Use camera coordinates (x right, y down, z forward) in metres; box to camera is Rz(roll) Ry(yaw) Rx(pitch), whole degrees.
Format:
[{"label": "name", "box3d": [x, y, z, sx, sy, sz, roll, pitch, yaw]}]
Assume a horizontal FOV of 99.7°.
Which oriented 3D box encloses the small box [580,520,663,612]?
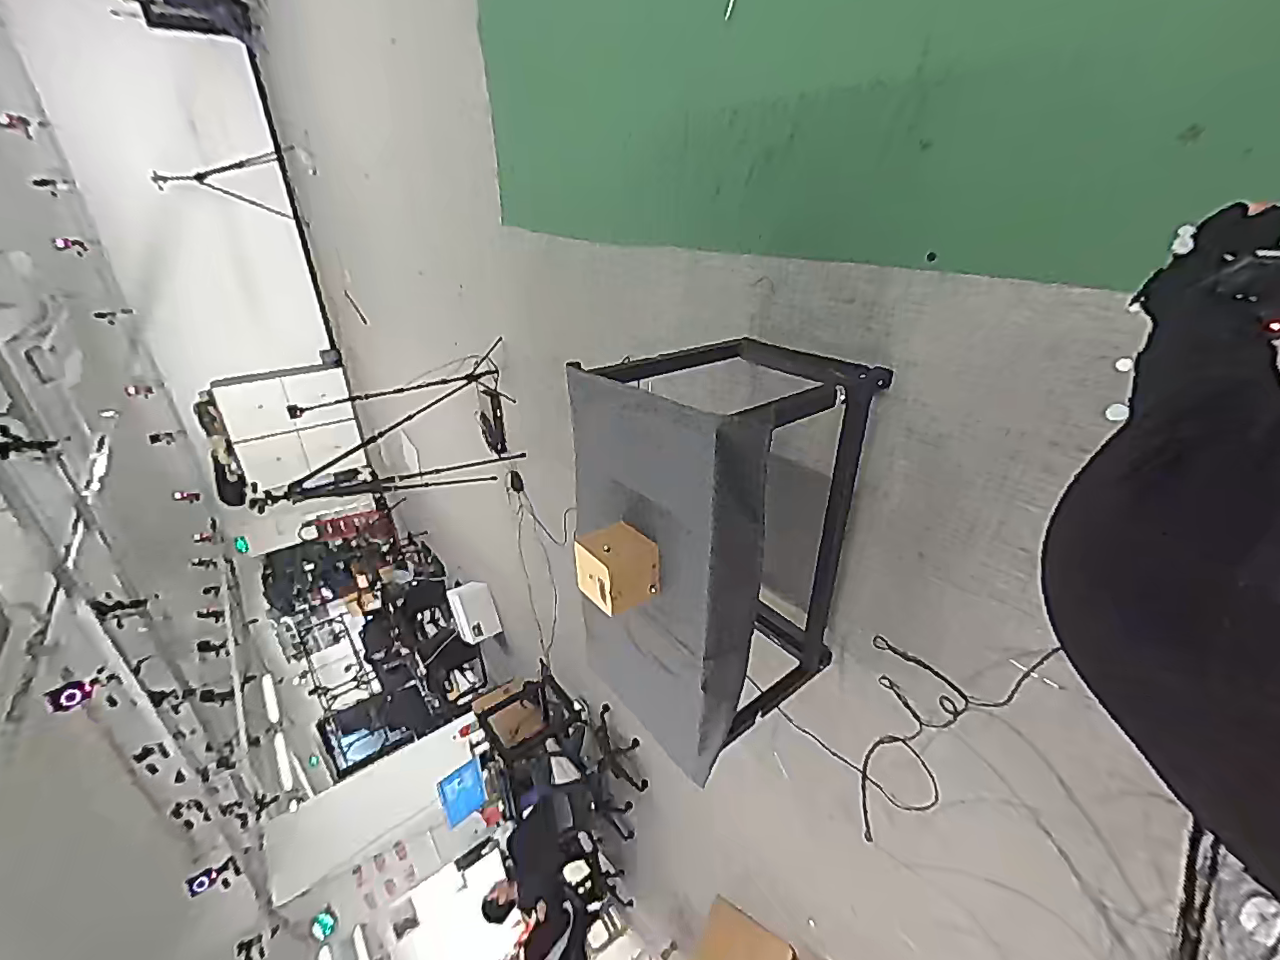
[{"label": "small box", "box3d": [-0.048, 0.233, 1.522, 0.179, 0.176, 0.168, 31, 131, 47]}]
